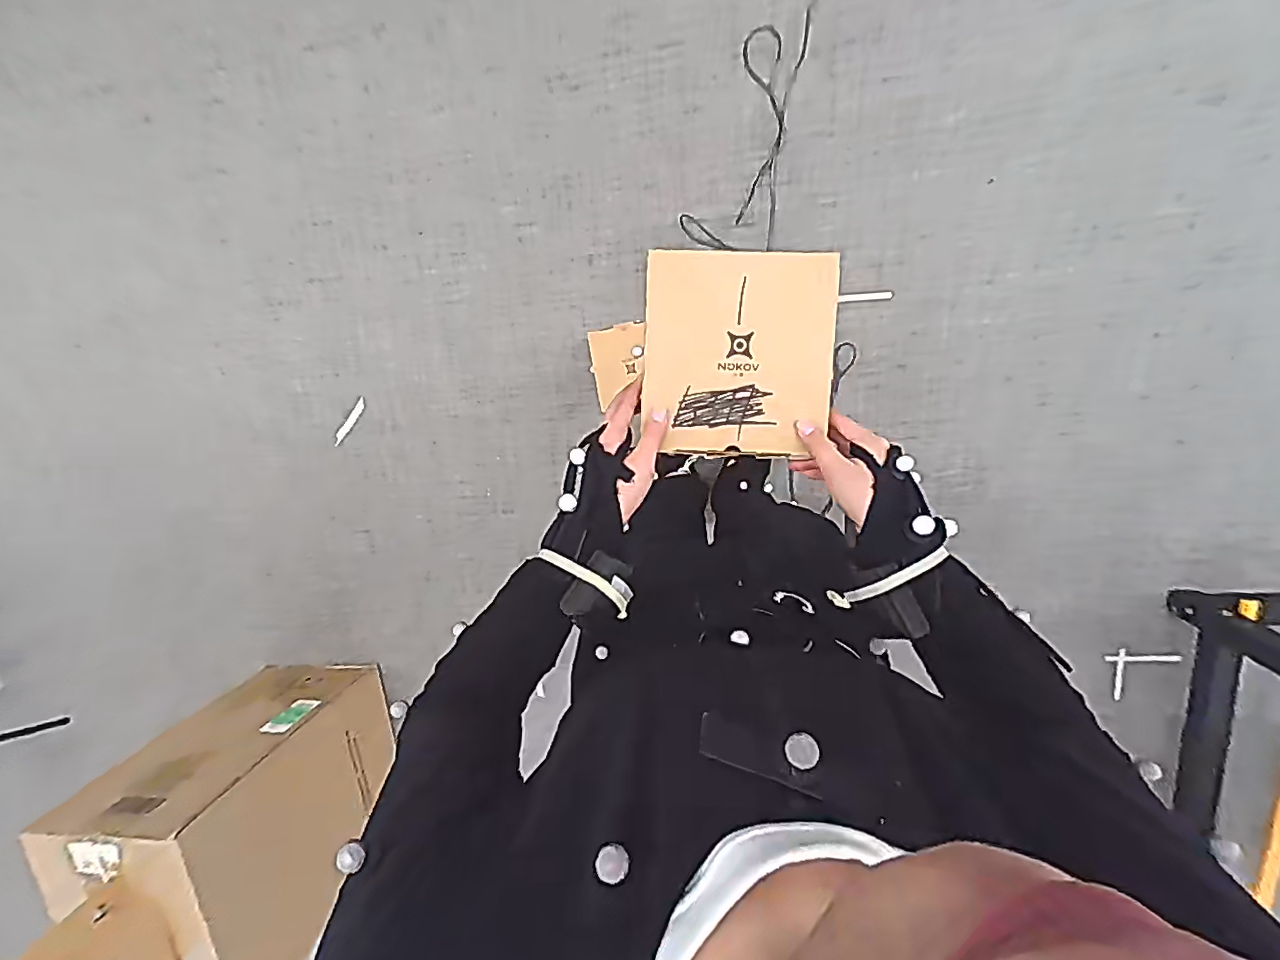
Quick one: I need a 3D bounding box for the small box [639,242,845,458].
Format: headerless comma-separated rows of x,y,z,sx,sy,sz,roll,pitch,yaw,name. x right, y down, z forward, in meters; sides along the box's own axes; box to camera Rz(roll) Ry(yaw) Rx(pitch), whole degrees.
0.088,-0.118,0.535,0.168,0.176,0.179,2,96,2,small box
